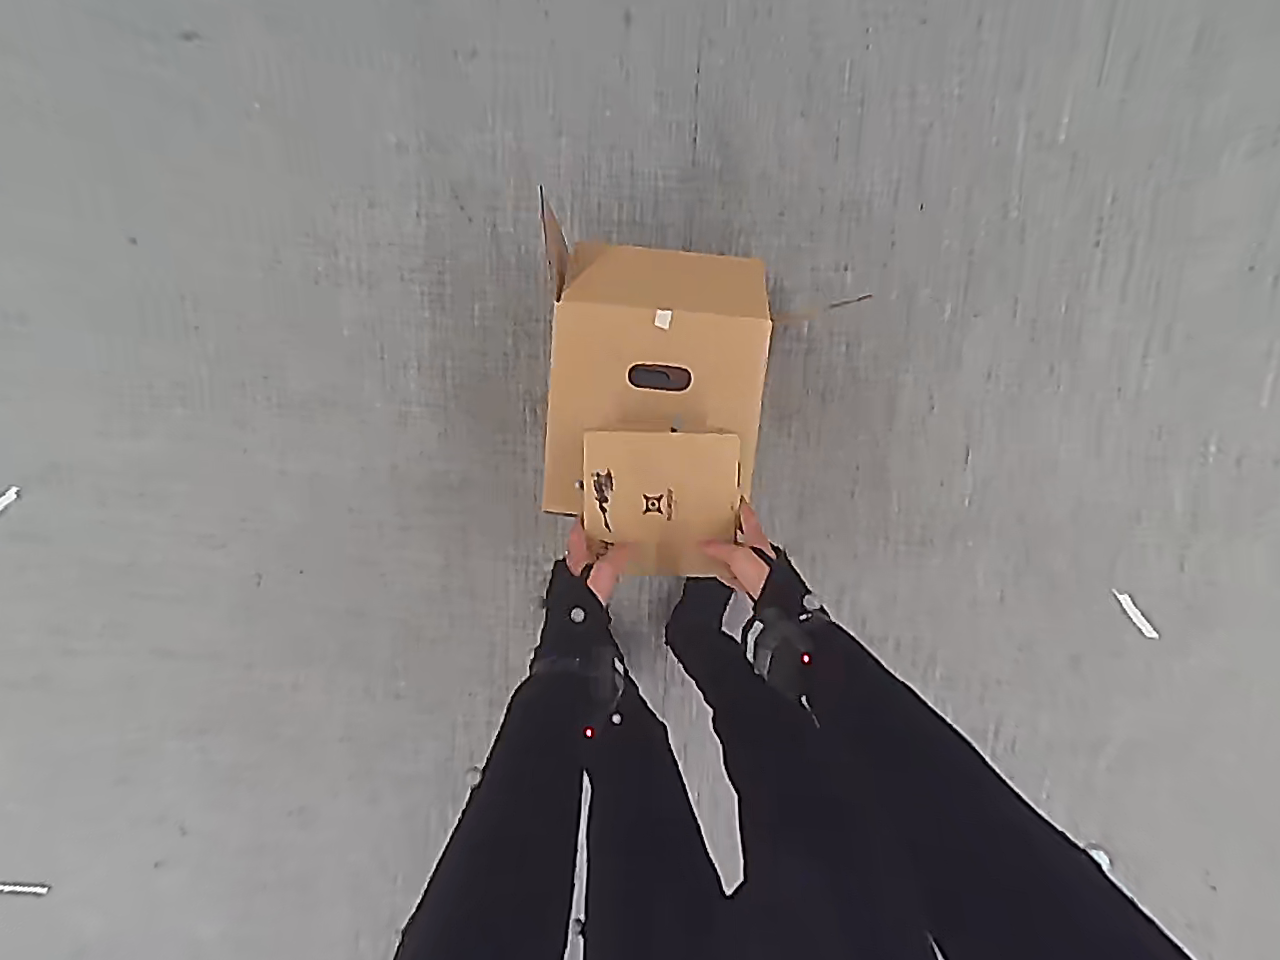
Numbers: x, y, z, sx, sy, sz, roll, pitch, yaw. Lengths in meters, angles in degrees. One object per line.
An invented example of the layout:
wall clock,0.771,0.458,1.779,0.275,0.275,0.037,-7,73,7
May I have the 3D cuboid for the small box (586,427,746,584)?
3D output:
small box,0.028,0.022,0.675,0.179,0.176,0.168,1,99,1
